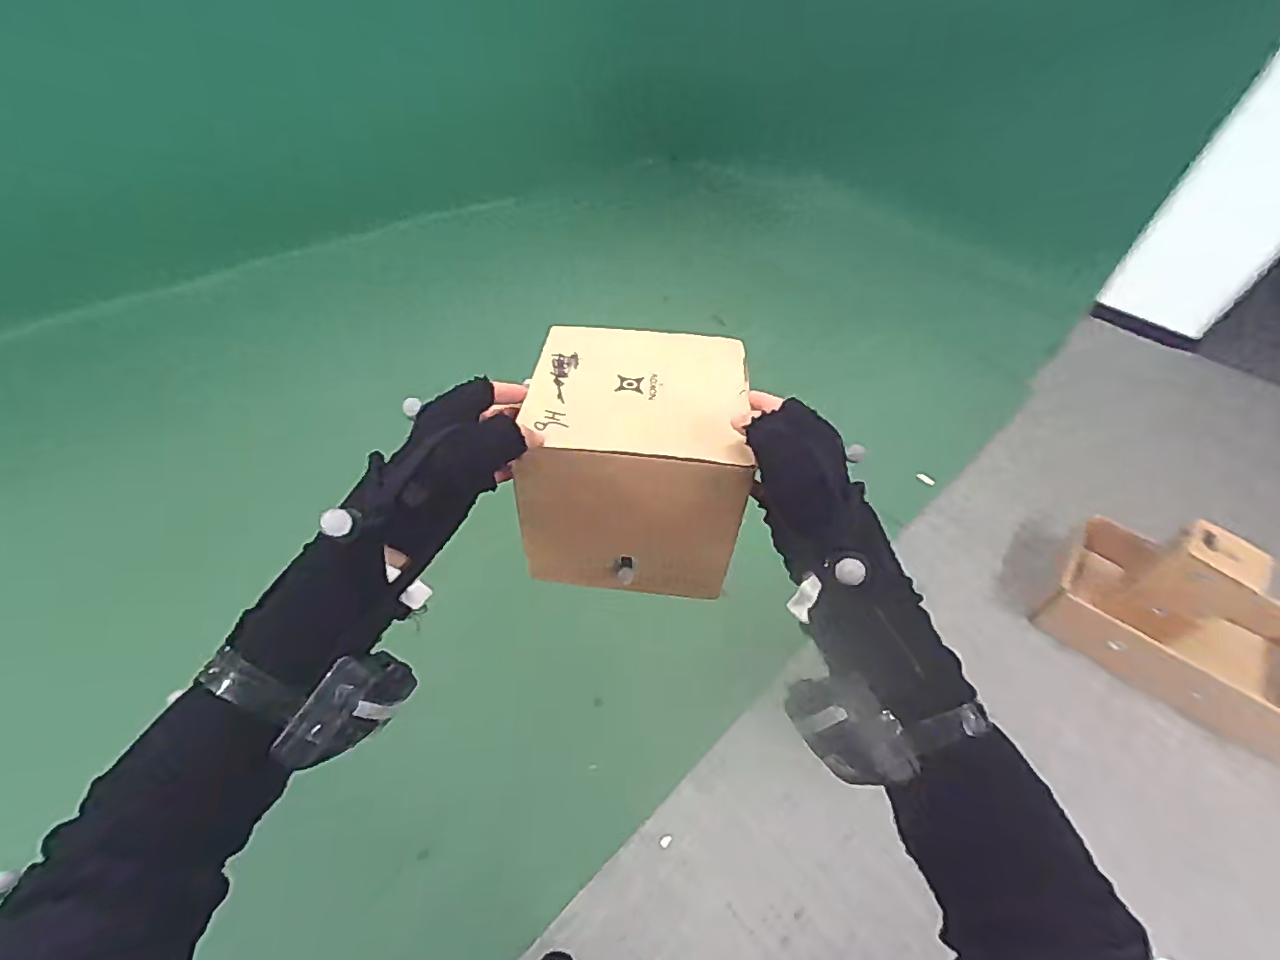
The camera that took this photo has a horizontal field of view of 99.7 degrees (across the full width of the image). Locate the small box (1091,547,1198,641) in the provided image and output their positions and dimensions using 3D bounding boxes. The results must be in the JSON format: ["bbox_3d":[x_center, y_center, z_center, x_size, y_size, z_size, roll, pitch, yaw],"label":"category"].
[{"bbox_3d":[1.501,0.341,1.601,0.168,0.176,0.179,-35,62,-29],"label":"small box"}]

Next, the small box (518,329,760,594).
[{"bbox_3d":[0.001,-0.013,0.494,0.179,0.176,0.168,6,45,1],"label":"small box"}]

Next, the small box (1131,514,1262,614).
[{"bbox_3d":[1.511,0.232,1.478,0.168,0.176,0.179,-35,62,-29],"label":"small box"}]
